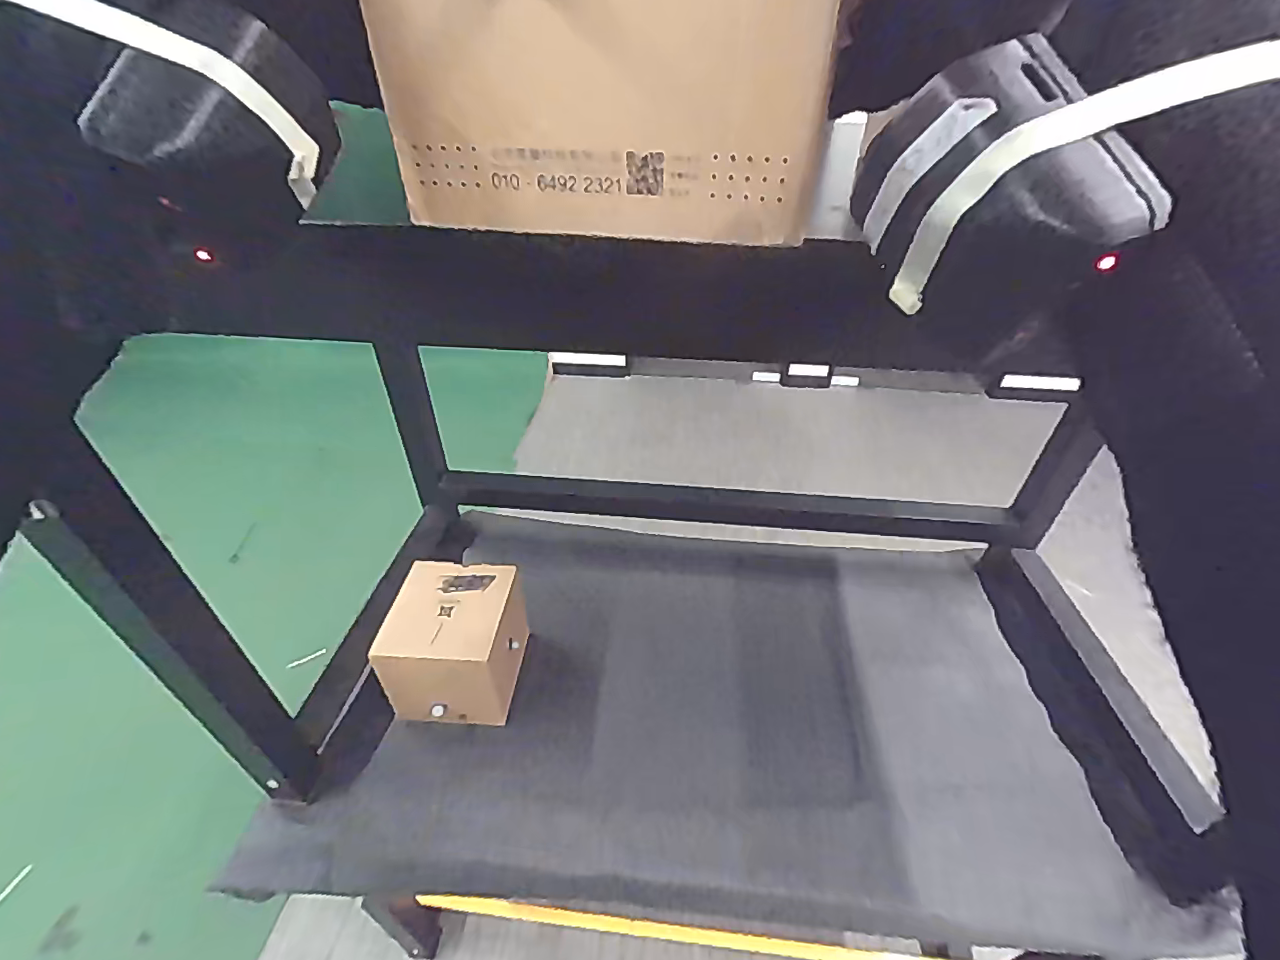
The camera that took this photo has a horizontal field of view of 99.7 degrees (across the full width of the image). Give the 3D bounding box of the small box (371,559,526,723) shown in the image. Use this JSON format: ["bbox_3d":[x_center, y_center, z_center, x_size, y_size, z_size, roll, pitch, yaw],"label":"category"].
[{"bbox_3d":[-0.278,0.246,0.836,0.168,0.176,0.179,2,38,3],"label":"small box"}]
